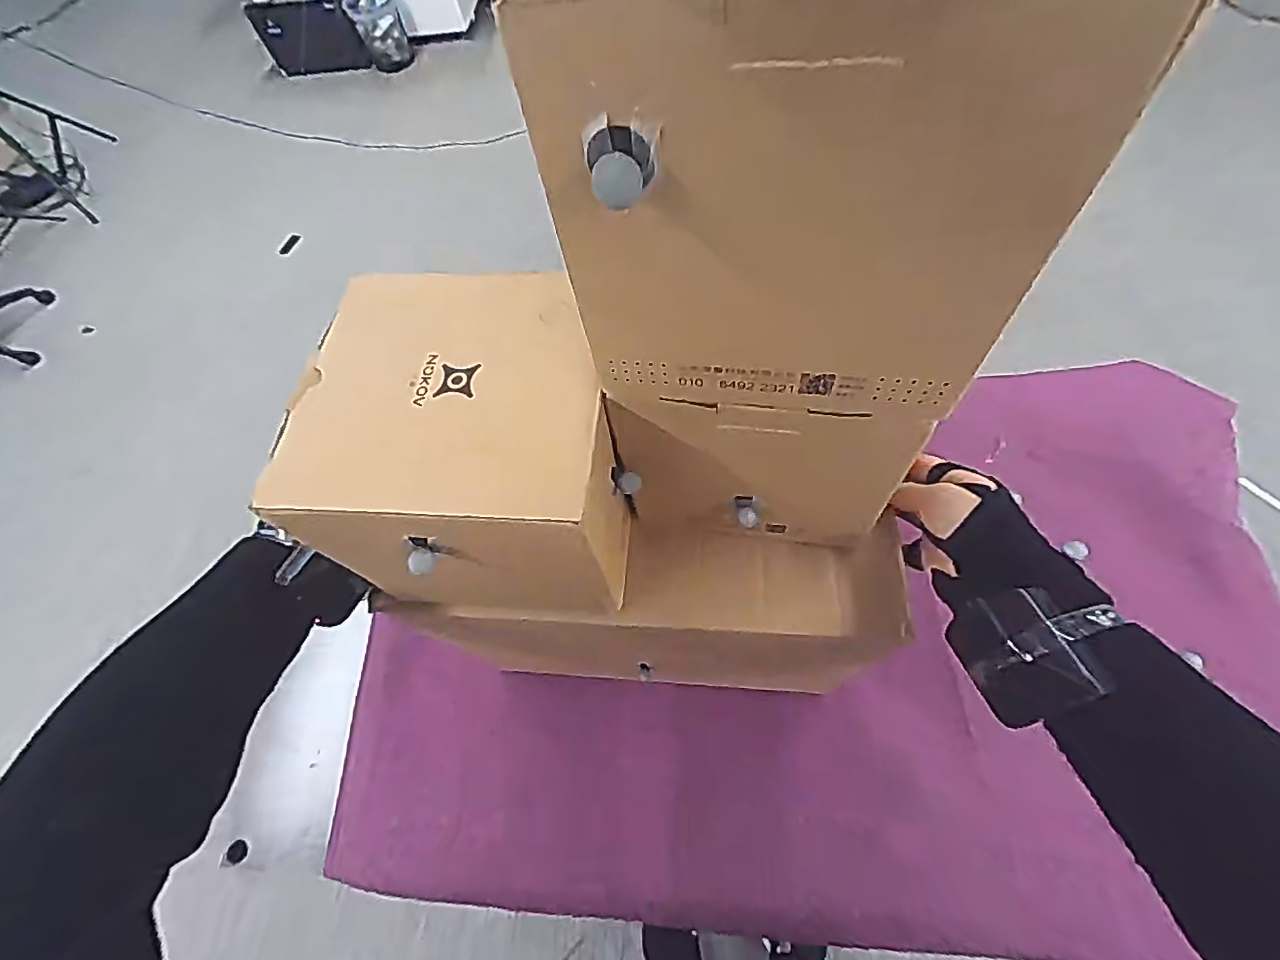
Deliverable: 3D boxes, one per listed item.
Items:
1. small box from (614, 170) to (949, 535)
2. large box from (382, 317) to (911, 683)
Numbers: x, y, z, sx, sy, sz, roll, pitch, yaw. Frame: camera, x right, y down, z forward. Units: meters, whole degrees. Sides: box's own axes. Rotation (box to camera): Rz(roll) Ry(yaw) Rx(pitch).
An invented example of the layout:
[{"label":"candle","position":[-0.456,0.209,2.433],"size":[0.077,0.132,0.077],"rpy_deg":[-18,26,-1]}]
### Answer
[{"label":"small box","position":[0.089,-0.081,0.373],"size":[0.168,0.176,0.179],"rpy_deg":[6,63,11]},{"label":"large box","position":[0.020,0.040,0.597],"size":[0.408,0.320,0.320],"rpy_deg":[0,61,8]}]
